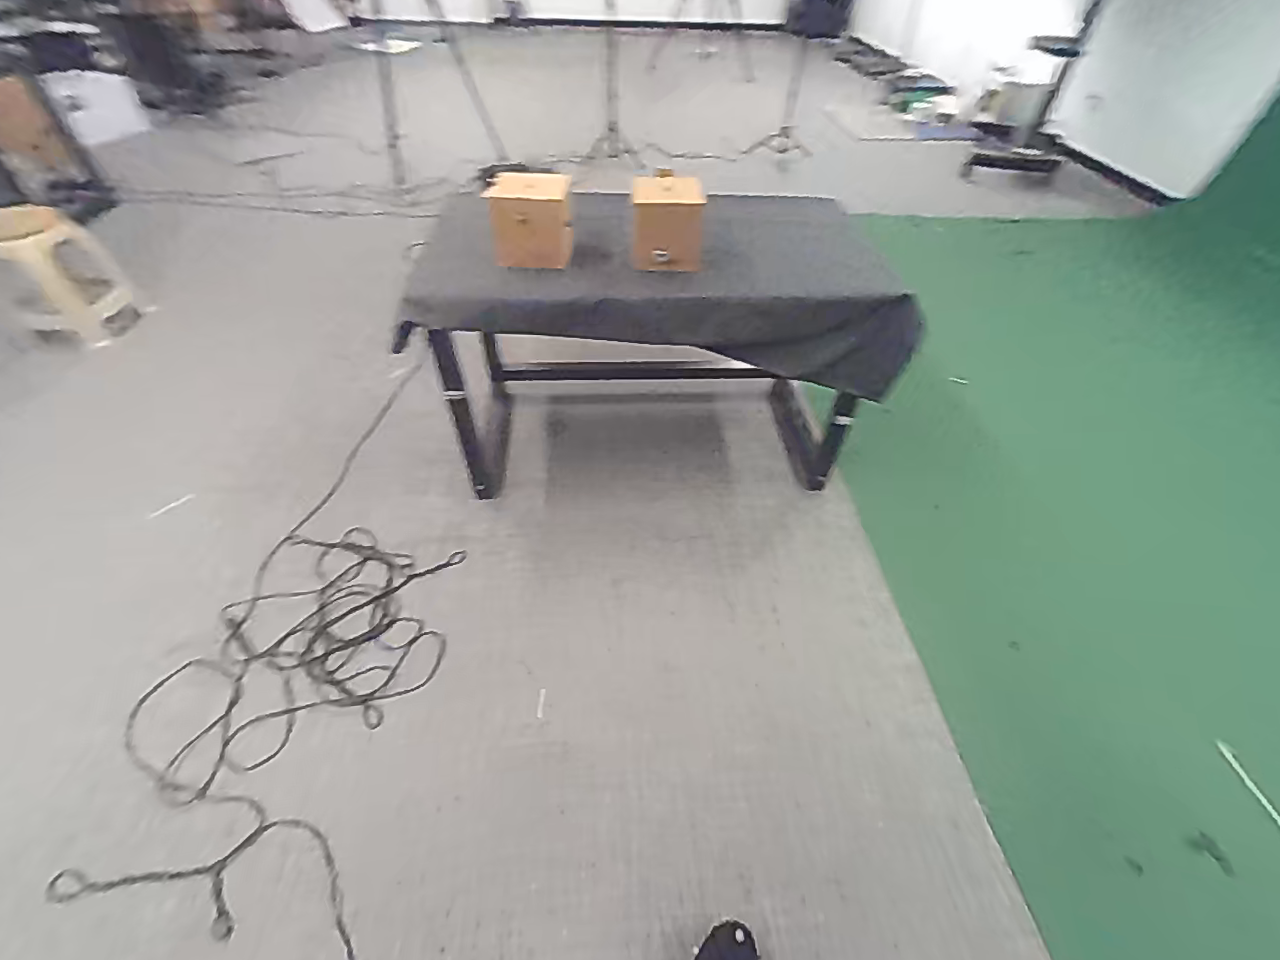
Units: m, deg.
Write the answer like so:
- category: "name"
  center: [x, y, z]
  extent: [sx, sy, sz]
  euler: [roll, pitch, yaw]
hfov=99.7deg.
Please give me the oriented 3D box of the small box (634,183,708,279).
- category: "small box"
  center: [0.070, -0.626, 1.358]
  extent: [0.168, 0.176, 0.179]
  euler: [-1, 47, -3]

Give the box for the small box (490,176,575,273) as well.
- category: "small box"
  center: [-0.257, -0.631, 1.343]
  extent: [0.179, 0.176, 0.168]
  euler: [3, 46, 0]
